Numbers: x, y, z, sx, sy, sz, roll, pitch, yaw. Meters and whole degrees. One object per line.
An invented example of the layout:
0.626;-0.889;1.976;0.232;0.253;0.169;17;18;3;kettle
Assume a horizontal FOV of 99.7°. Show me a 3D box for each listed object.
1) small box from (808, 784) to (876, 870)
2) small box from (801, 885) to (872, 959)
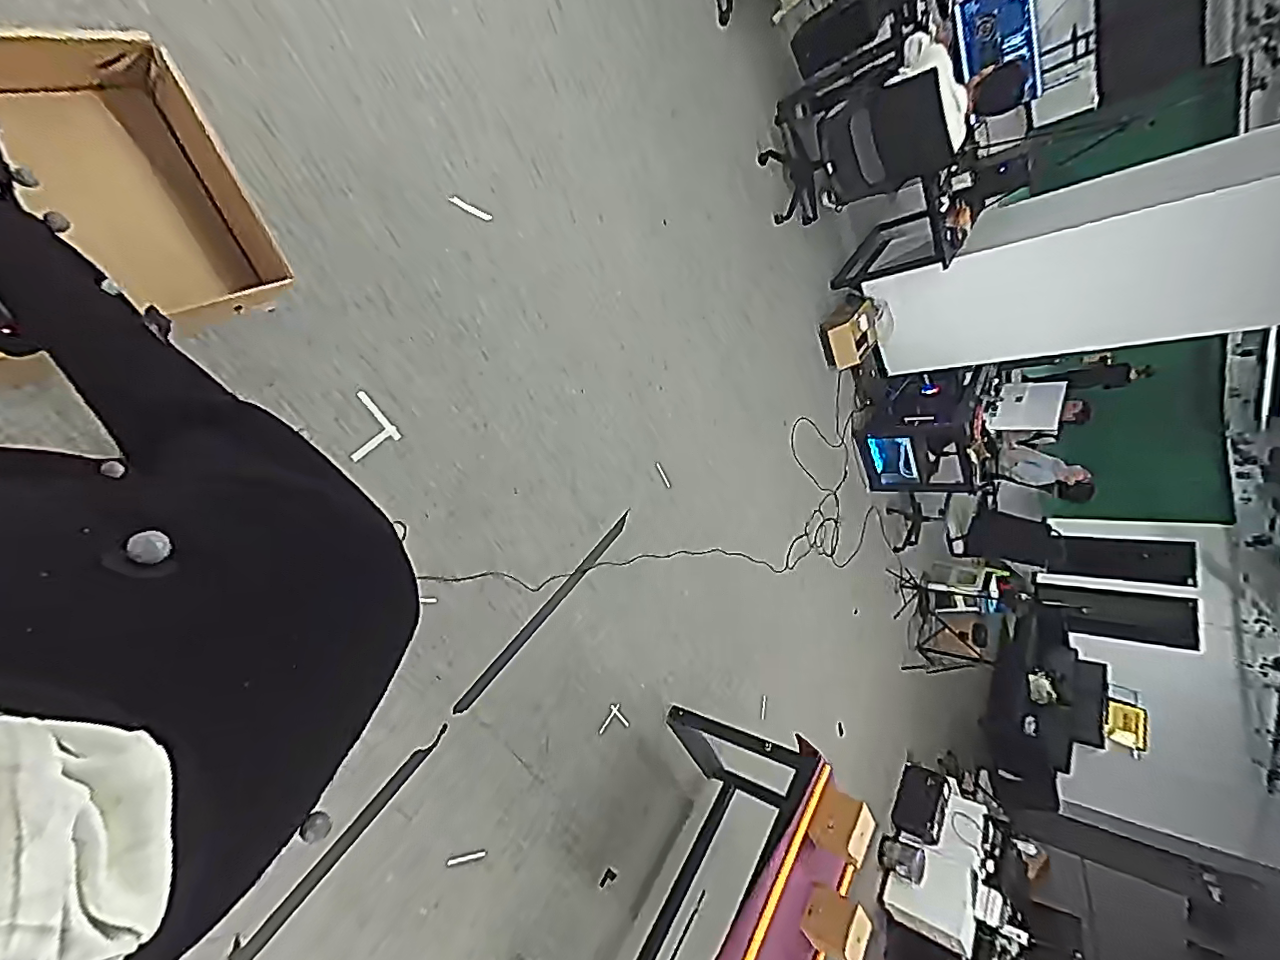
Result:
0.736;1.270;1.987;0.179;0.176;0.168;-47;122;-32;small box
0.715;1.627;1.966;0.168;0.176;0.179;-48;120;-35;small box
